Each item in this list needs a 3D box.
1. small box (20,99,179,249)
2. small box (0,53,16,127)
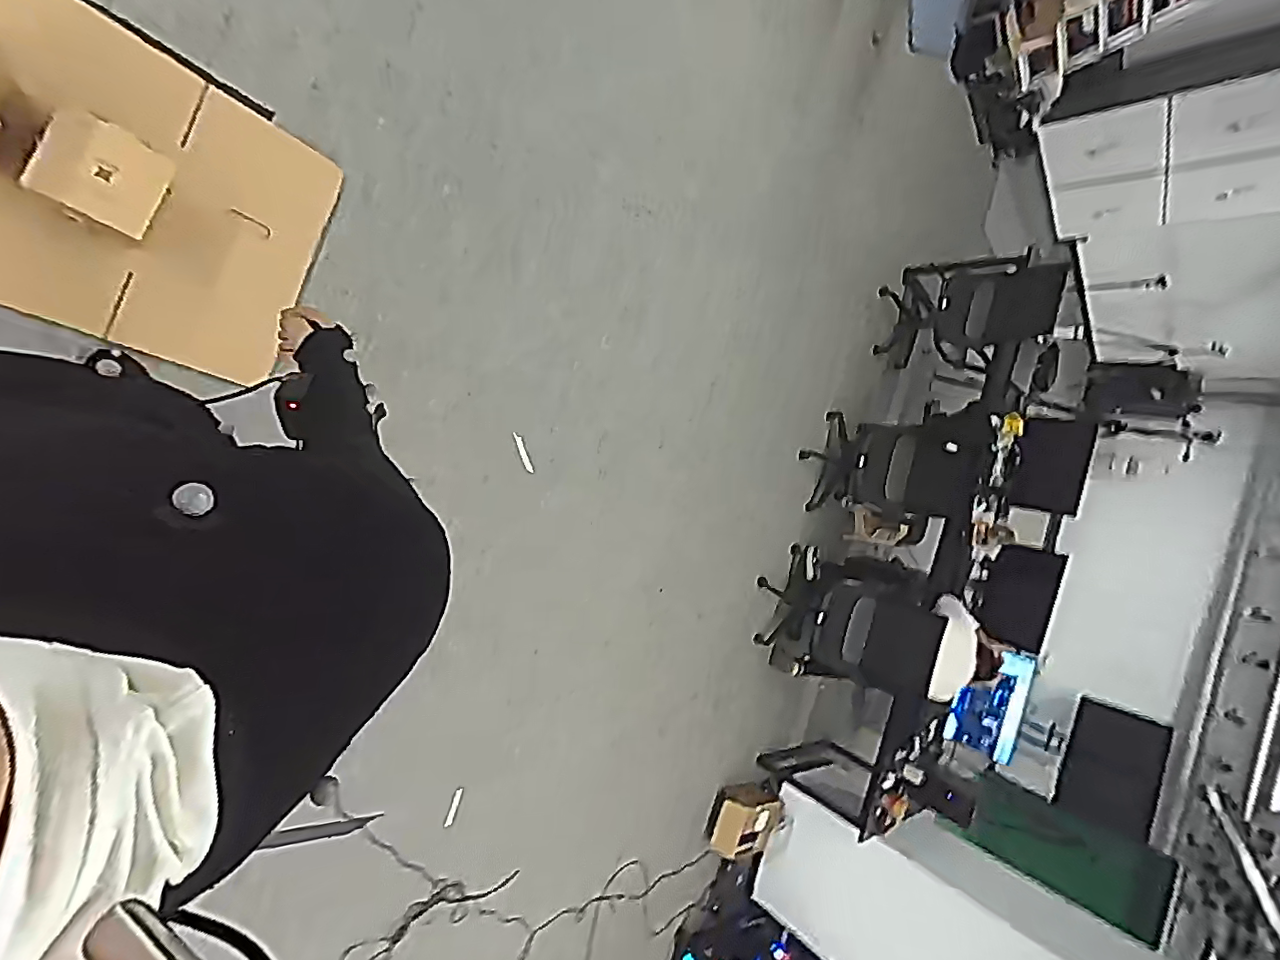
[{"bbox_3d":[-1.037,-0.576,1.045,0.168,0.176,0.179,27,81,-44],"label":"small box"},{"bbox_3d":[-1.180,-0.659,0.884,0.168,0.176,0.179,25,83,-44],"label":"small box"}]
